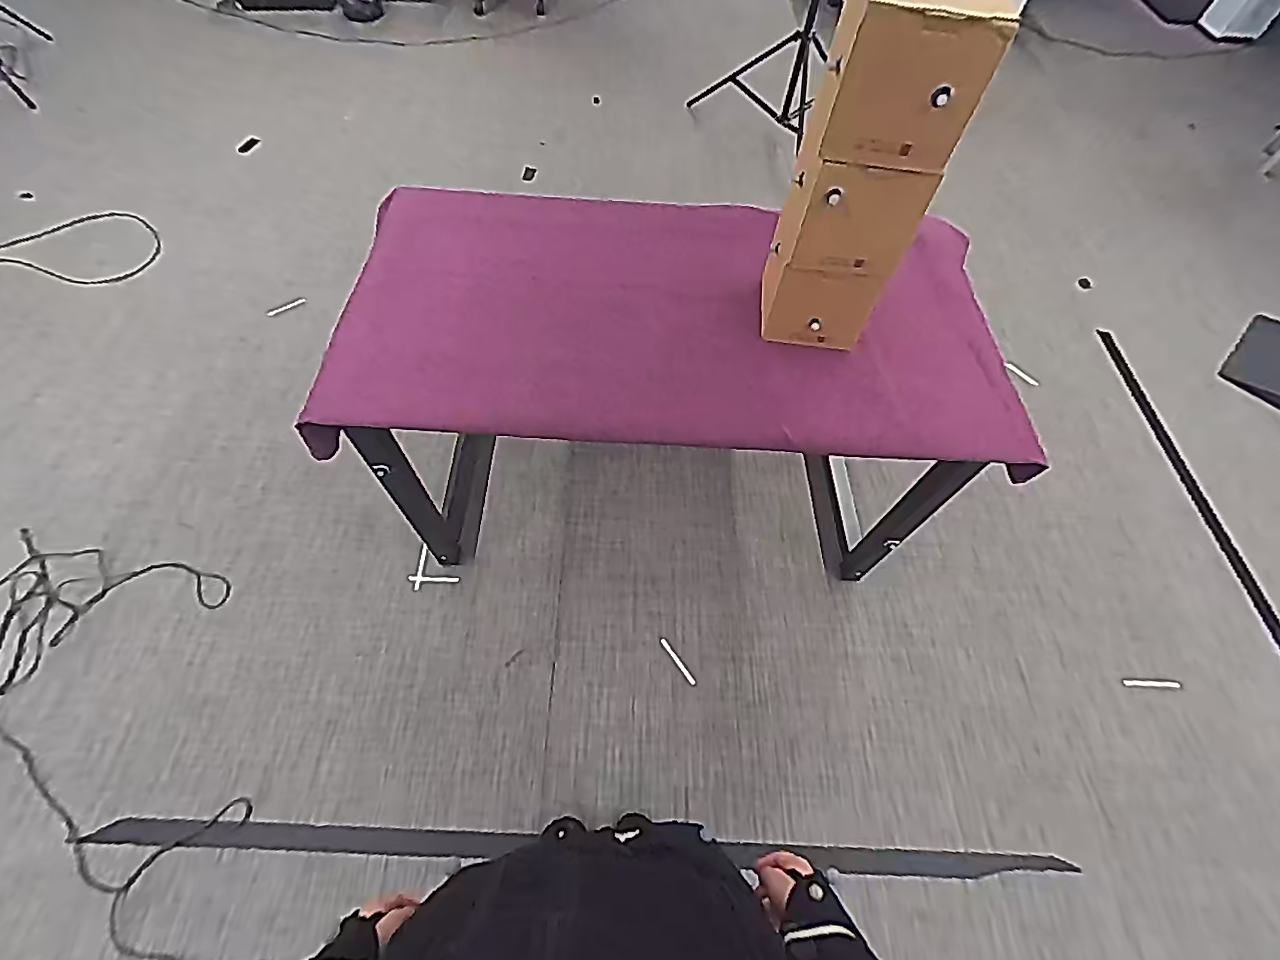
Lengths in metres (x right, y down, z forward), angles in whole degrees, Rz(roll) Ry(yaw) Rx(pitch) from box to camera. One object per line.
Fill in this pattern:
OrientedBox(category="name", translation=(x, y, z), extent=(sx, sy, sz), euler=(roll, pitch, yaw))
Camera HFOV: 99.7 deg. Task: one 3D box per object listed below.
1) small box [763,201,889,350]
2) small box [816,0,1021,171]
OrientedBox(category="small box", translation=(0.321, -0.363, 0.968), extent=(0.168, 0.176, 0.179), euler=(7, 60, 2))
OrientedBox(category="small box", translation=(0.331, -0.523, 0.683), extent=(0.168, 0.176, 0.179), euler=(9, 58, 1))
